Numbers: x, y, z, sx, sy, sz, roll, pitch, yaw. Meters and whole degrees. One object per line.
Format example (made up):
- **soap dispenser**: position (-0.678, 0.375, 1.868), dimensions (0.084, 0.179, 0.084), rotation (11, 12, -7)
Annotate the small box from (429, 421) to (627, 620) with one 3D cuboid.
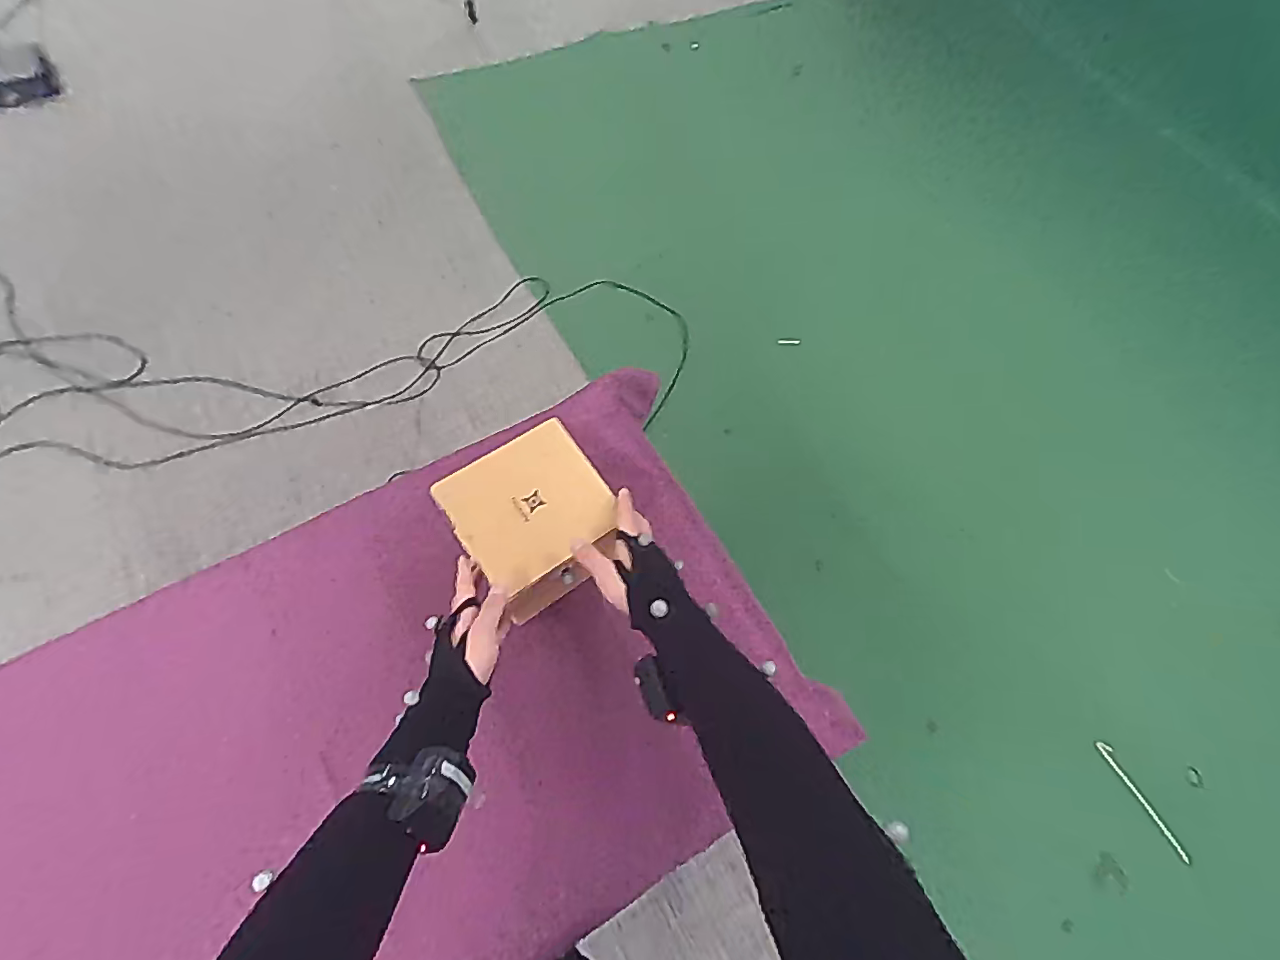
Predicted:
- **small box**: position (-0.138, 0.060, 0.703), dimensions (0.179, 0.176, 0.168), rotation (-34, 75, -16)
